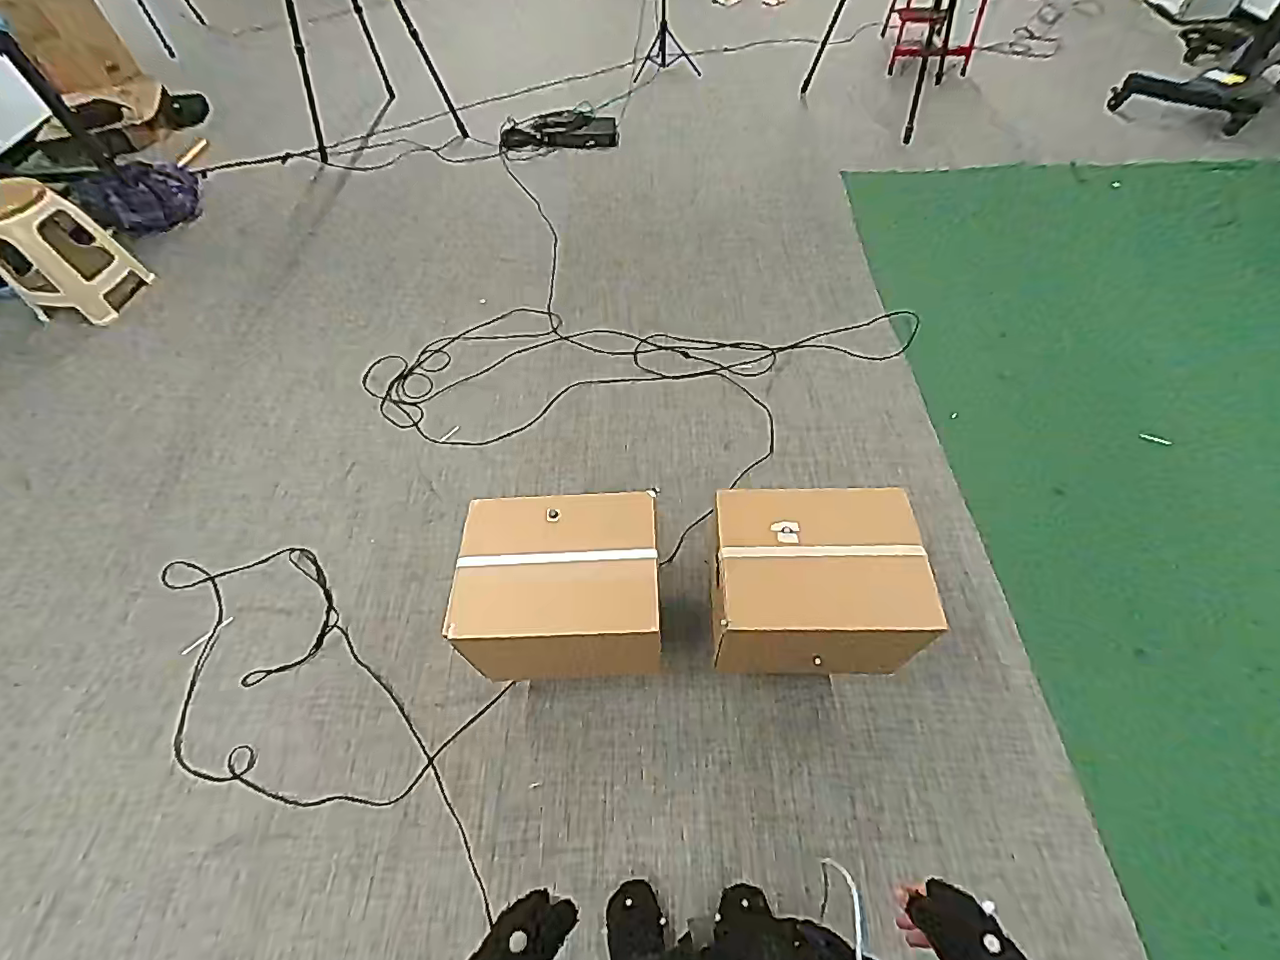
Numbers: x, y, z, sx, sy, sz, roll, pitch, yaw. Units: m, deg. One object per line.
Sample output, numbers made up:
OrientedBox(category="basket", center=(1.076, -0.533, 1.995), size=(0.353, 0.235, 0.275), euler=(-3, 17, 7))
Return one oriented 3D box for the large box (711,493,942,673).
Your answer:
OrientedBox(category="large box", center=(0.376, 0.242, 1.217), size=(0.408, 0.320, 0.320), euler=(-1, 55, 3))
